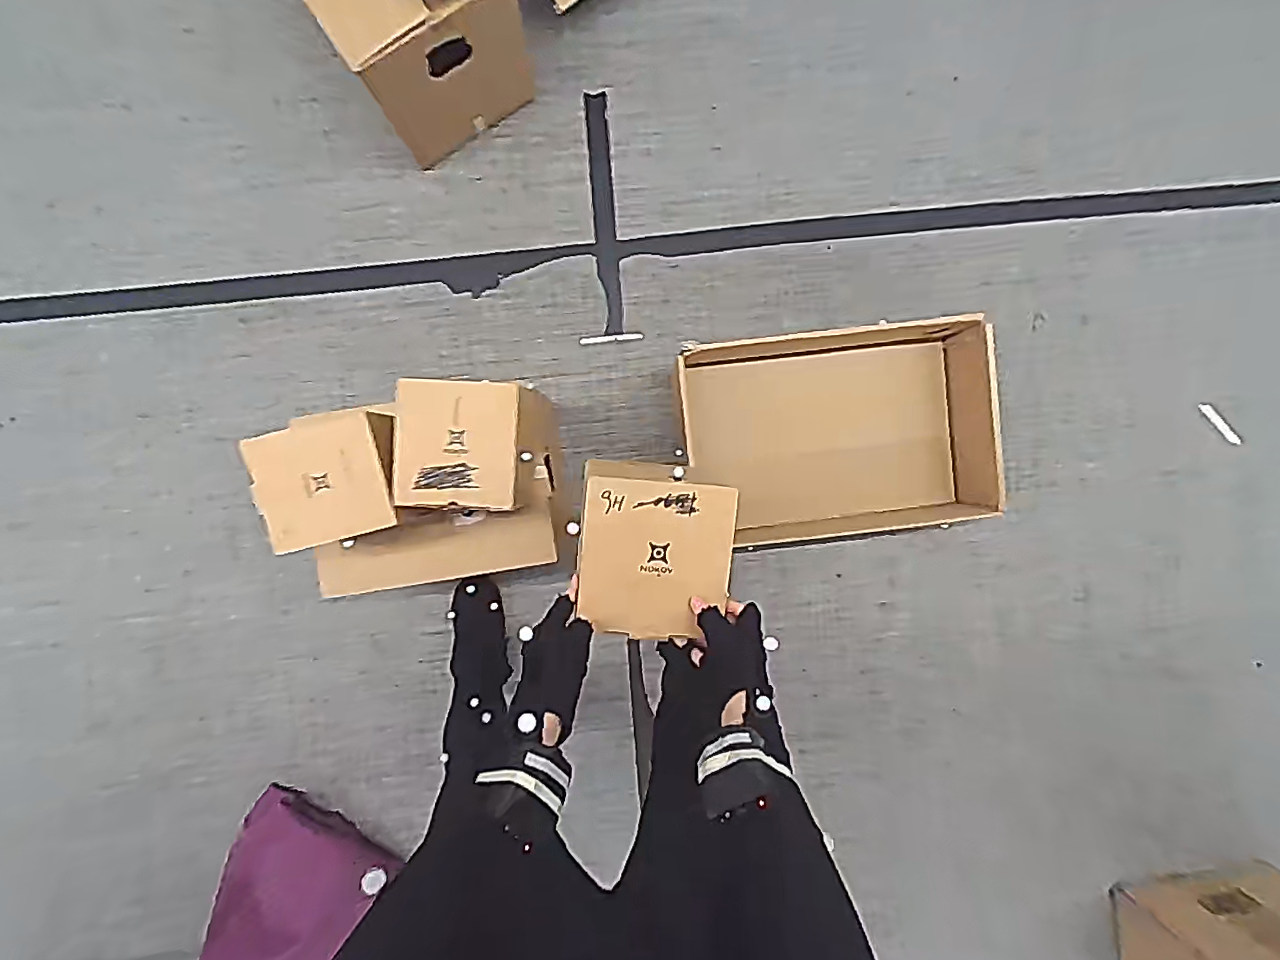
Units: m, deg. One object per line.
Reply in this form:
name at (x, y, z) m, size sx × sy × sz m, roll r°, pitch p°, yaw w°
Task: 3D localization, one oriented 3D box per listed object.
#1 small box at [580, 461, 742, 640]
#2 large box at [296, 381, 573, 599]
small box at (0.015, 0.078, 0.672) m, size 0.168 × 0.176 × 0.179 m, roll 5°, pitch 97°, yaw -7°
large box at (-0.365, 0.014, 1.064) m, size 0.408 × 0.320 × 0.320 m, roll -10°, pitch 93°, yaw -2°
